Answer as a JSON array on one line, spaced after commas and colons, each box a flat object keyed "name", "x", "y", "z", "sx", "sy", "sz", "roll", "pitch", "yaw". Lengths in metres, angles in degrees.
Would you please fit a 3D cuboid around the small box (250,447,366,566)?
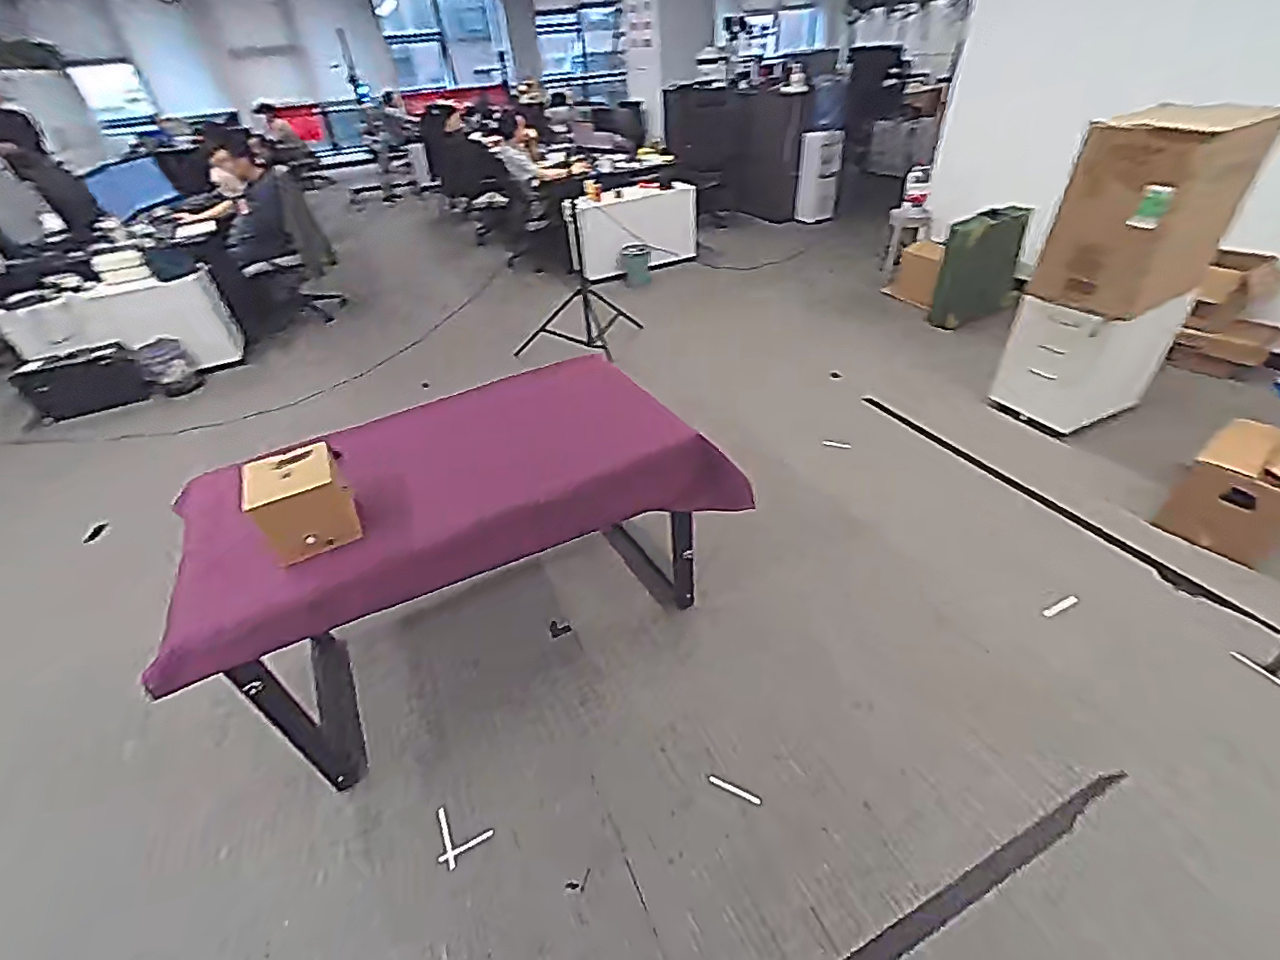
[{"name": "small box", "x": -0.733, "y": 0.057, "z": 1.200, "sx": 0.168, "sy": 0.176, "sz": 0.179, "roll": -22, "pitch": 42, "yaw": -20}]
